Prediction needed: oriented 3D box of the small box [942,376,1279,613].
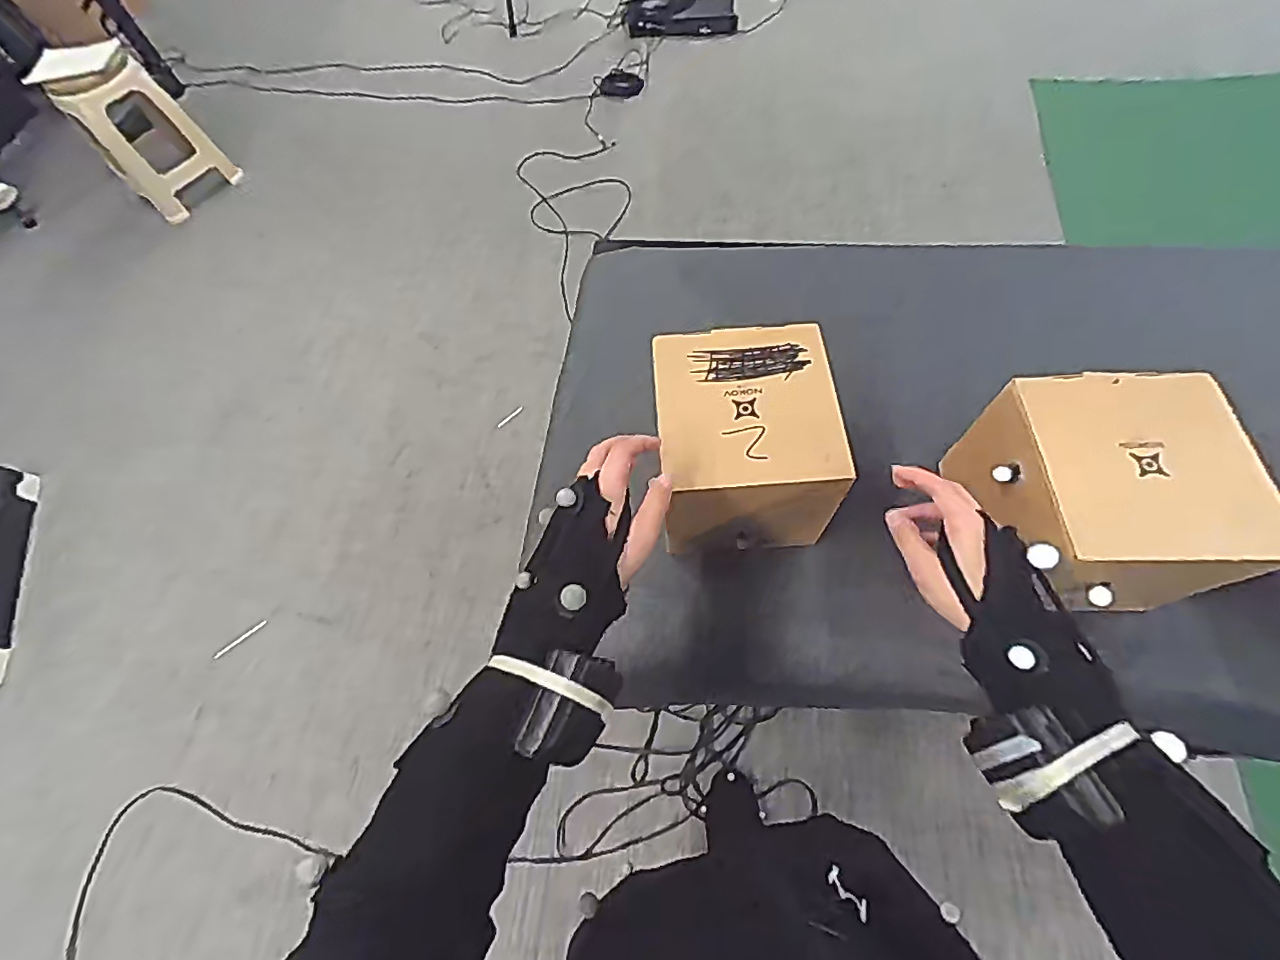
[{"bbox_3d":[0.419,0.024,0.513,0.168,0.176,0.179,-1,62,5],"label":"small box"}]
